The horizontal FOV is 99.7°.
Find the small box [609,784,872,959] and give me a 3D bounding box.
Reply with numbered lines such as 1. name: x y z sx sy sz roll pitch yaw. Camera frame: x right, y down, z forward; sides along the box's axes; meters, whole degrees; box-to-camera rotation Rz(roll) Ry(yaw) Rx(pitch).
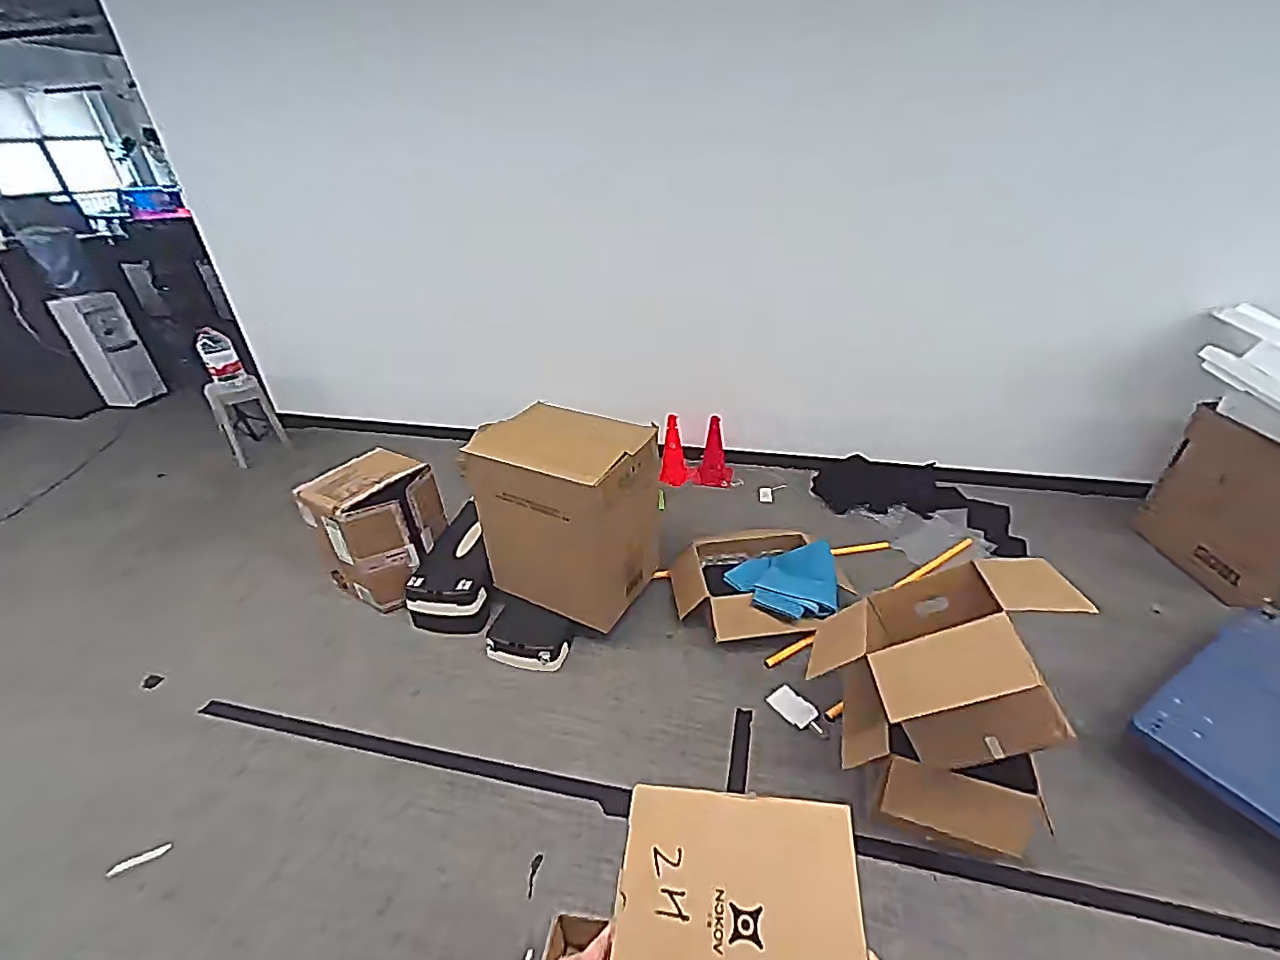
1. small box: 0.081 0.367 0.425 0.179 0.176 0.168 -2 41 14
